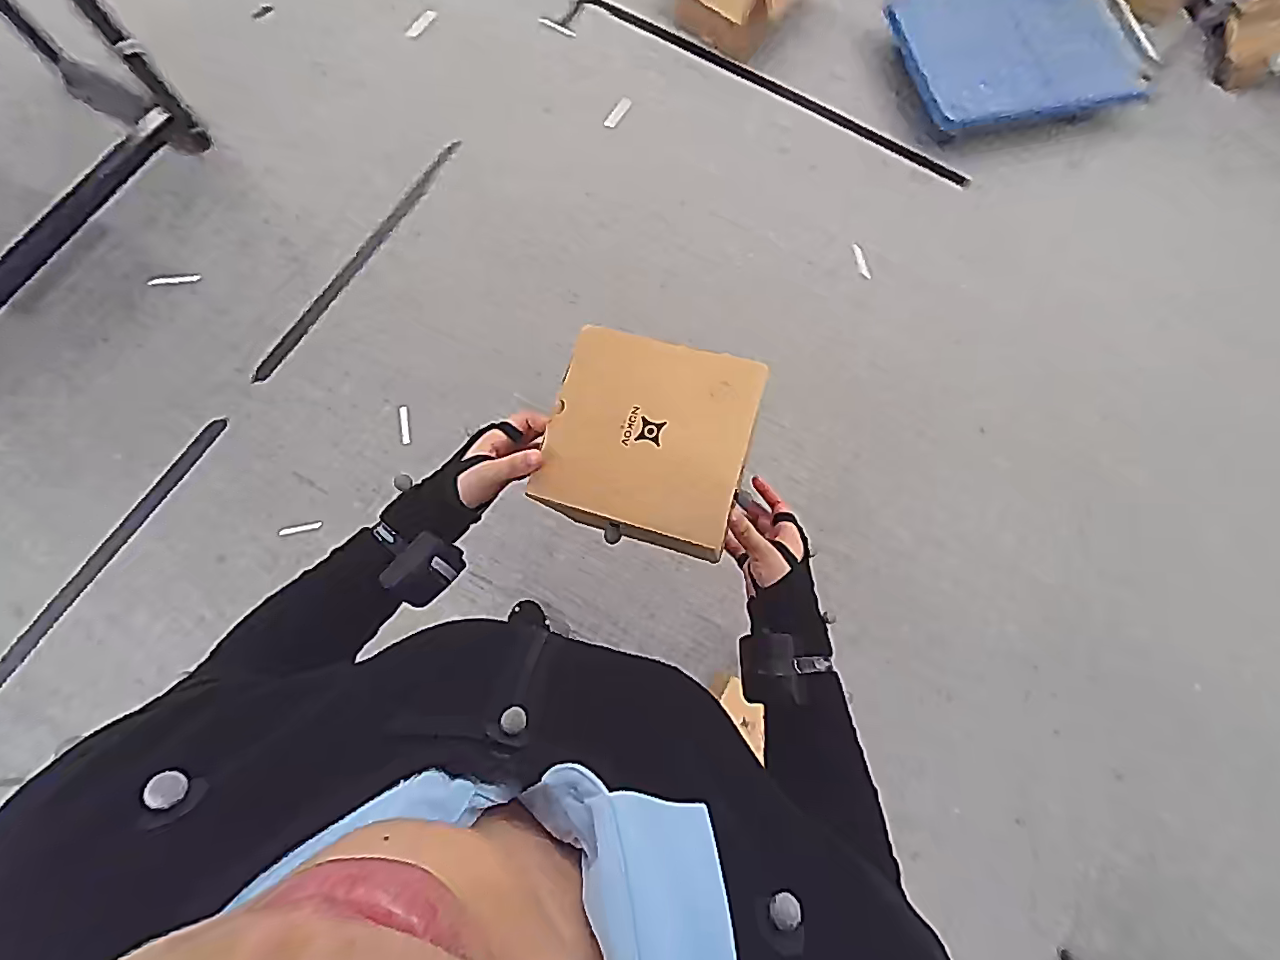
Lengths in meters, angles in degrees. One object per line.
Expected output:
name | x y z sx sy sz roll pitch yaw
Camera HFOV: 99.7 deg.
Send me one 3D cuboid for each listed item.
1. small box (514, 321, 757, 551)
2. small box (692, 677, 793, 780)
small box | 0.008 -0.030 0.536 0.179 0.176 0.168 14 80 13
small box | 0.251 0.616 1.366 0.179 0.176 0.168 32 75 4
